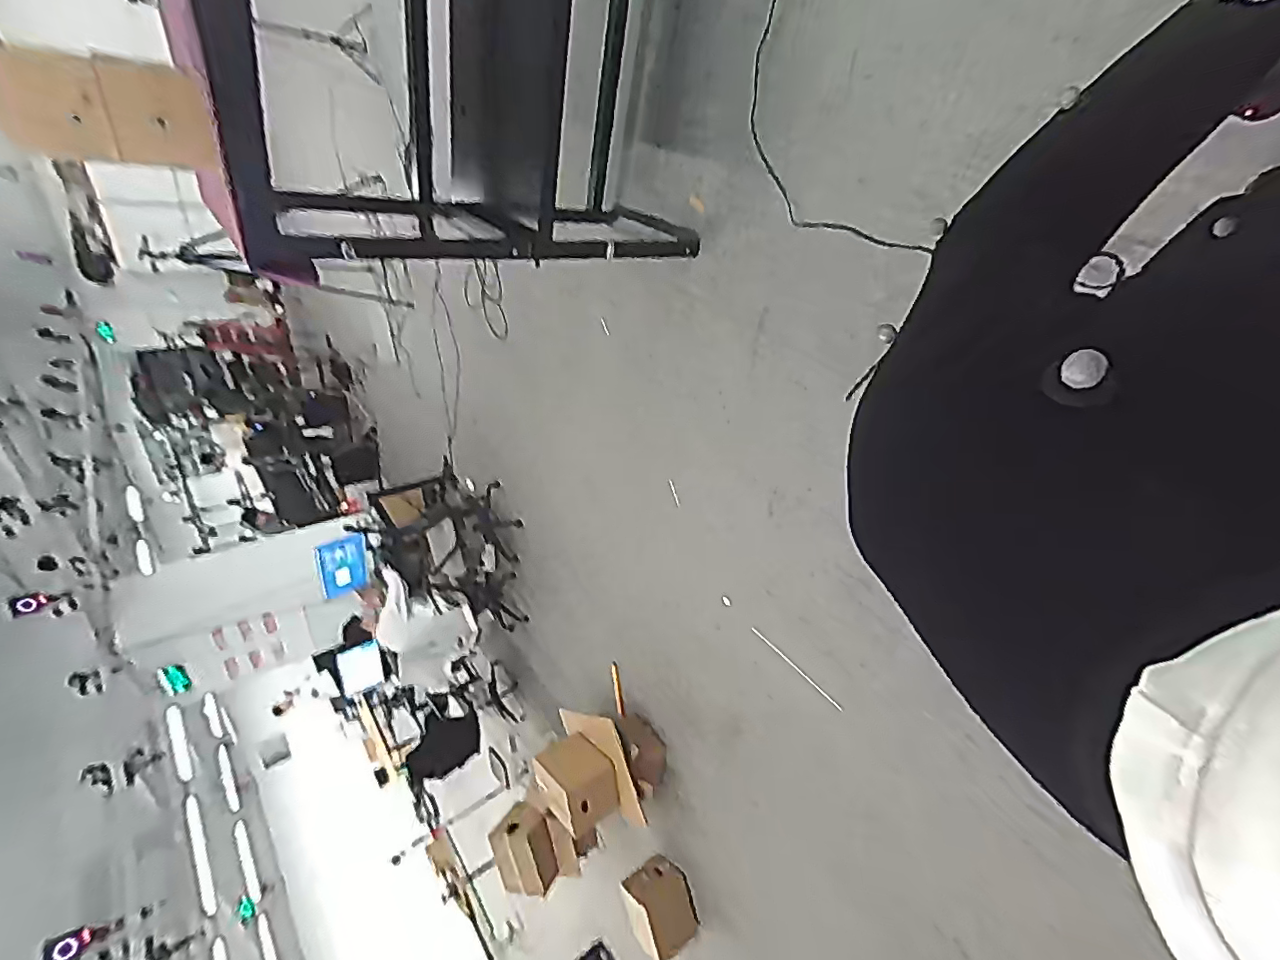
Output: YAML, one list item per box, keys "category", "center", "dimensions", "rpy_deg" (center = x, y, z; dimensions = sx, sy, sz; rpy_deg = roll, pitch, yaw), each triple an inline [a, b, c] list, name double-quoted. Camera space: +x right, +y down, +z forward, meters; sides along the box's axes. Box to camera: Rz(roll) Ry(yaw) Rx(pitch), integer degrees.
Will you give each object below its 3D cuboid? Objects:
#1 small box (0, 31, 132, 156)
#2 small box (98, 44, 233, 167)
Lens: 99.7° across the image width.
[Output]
- category: "small box"
  center: [-1.114, -0.738, 1.039]
  dimensions: [0.179, 0.176, 0.168]
  rpy_deg: [42, 133, 35]
- category: "small box"
  center: [-0.983, -0.775, 1.128]
  dimensions: [0.168, 0.176, 0.179]
  rpy_deg: [42, 135, 35]
